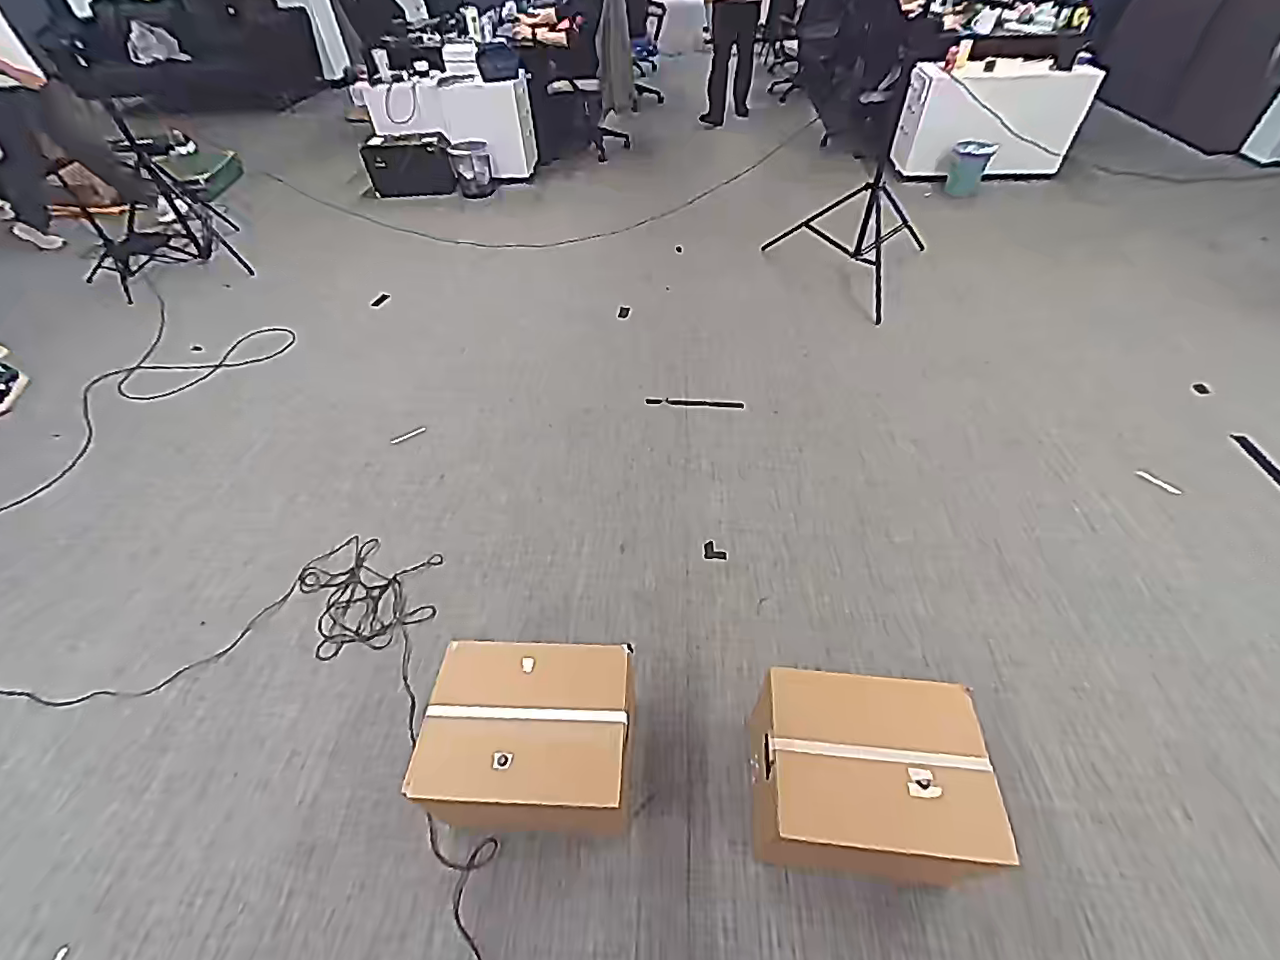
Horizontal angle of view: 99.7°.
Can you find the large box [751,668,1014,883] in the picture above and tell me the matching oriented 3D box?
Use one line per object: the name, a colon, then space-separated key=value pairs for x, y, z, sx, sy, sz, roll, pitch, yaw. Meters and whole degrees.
large box: x=0.463 y=0.628 z=1.150 sx=0.408 sy=0.320 sz=0.320 roll=4 pitch=48 yaw=5
